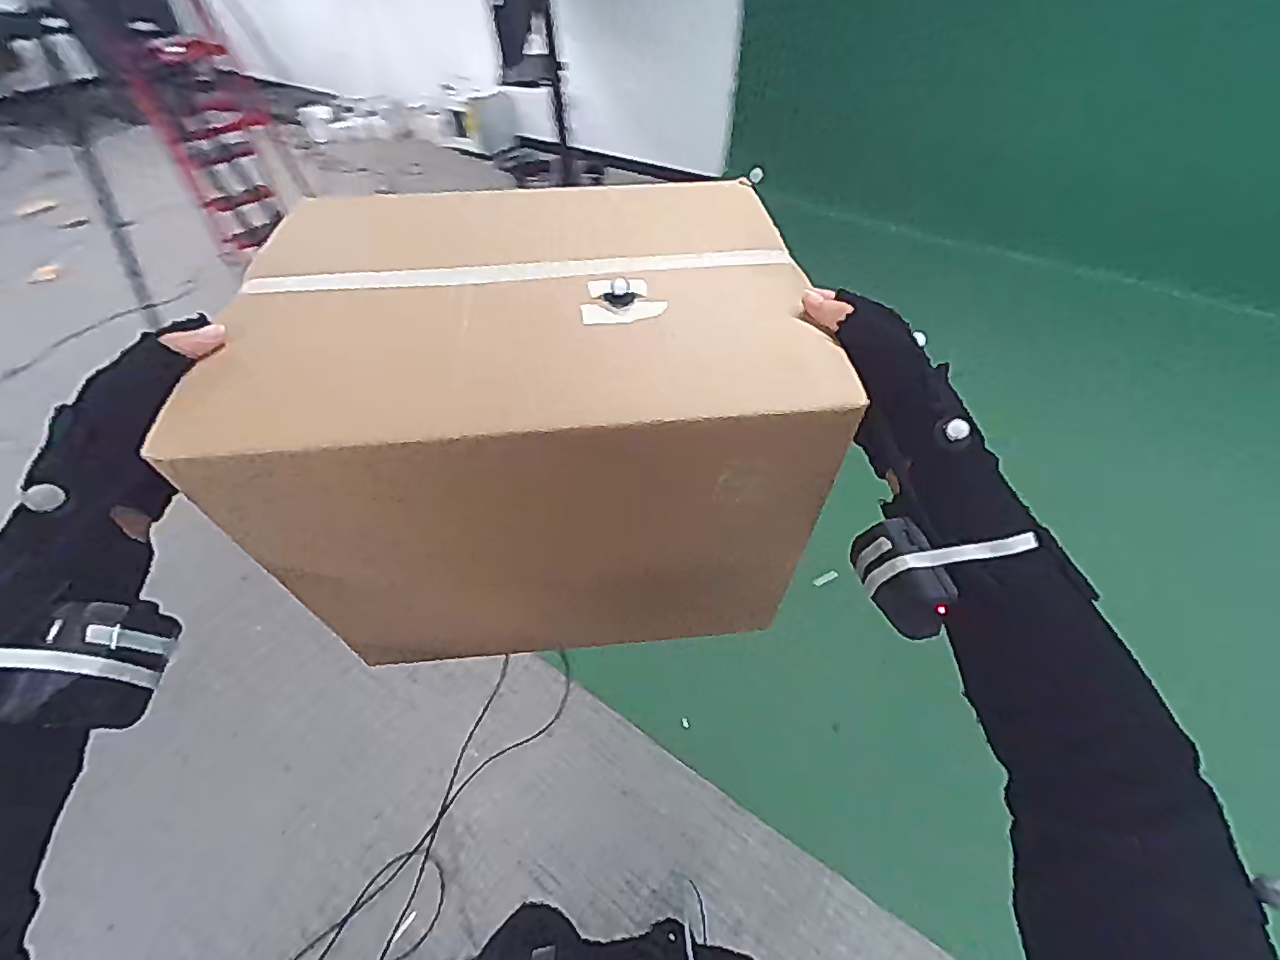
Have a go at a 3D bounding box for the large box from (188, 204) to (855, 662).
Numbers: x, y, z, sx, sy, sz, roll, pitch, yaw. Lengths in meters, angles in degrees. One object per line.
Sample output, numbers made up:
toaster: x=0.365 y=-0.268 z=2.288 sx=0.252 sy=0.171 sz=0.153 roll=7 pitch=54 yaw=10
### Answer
large box: x=-0.078 y=-0.042 z=0.527 sx=0.408 sy=0.320 sz=0.320 roll=-3 pitch=51 yaw=-4
